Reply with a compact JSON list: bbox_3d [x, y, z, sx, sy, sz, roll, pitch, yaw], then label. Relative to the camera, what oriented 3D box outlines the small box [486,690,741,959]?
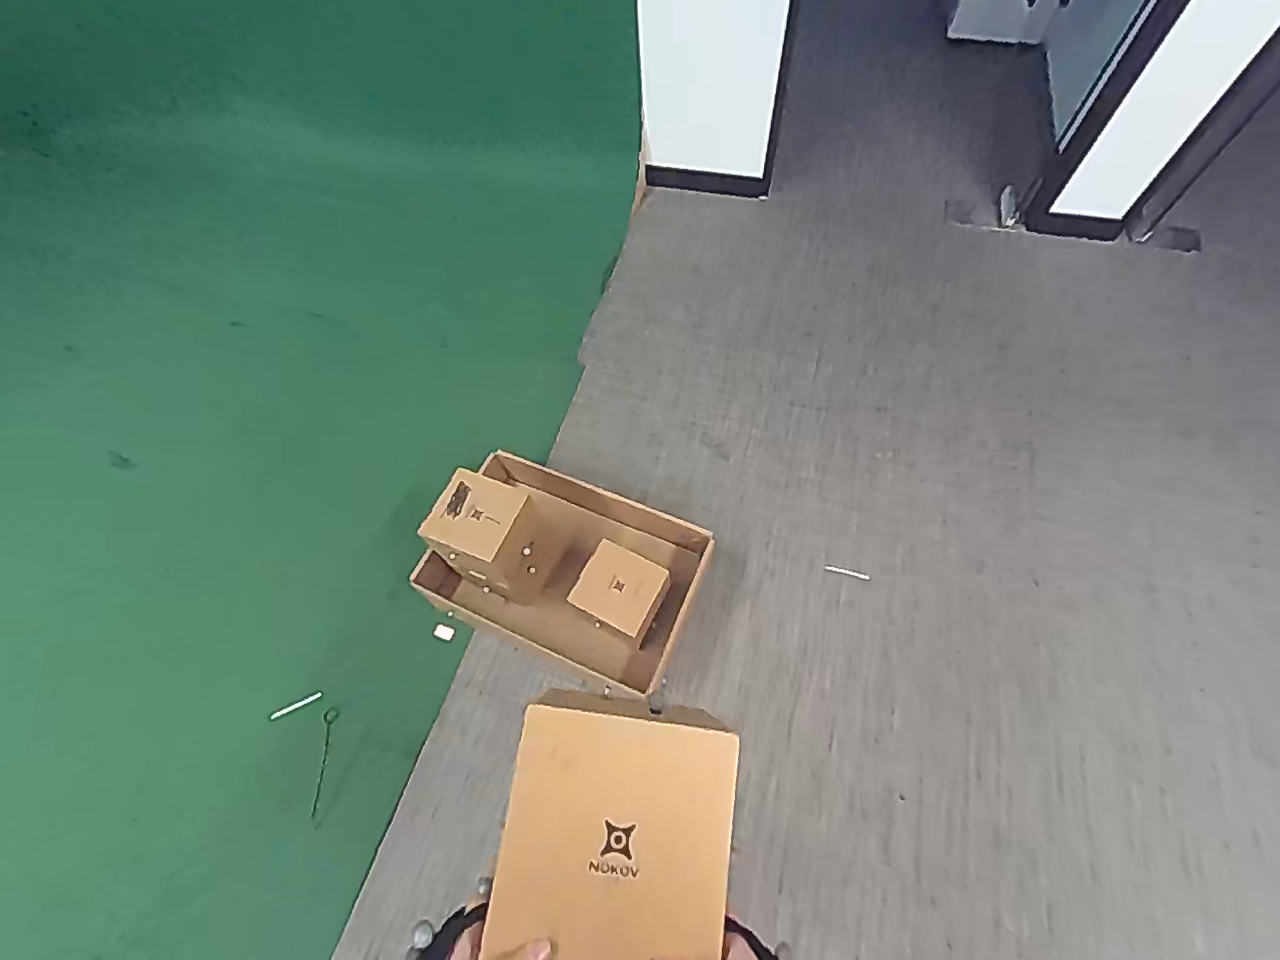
[{"bbox_3d":[-0.019,0.289,0.469,0.168,0.176,0.179,9,74,-1],"label":"small box"}]

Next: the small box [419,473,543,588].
[{"bbox_3d":[-0.333,0.114,1.172,0.179,0.176,0.168,20,65,12],"label":"small box"}]
